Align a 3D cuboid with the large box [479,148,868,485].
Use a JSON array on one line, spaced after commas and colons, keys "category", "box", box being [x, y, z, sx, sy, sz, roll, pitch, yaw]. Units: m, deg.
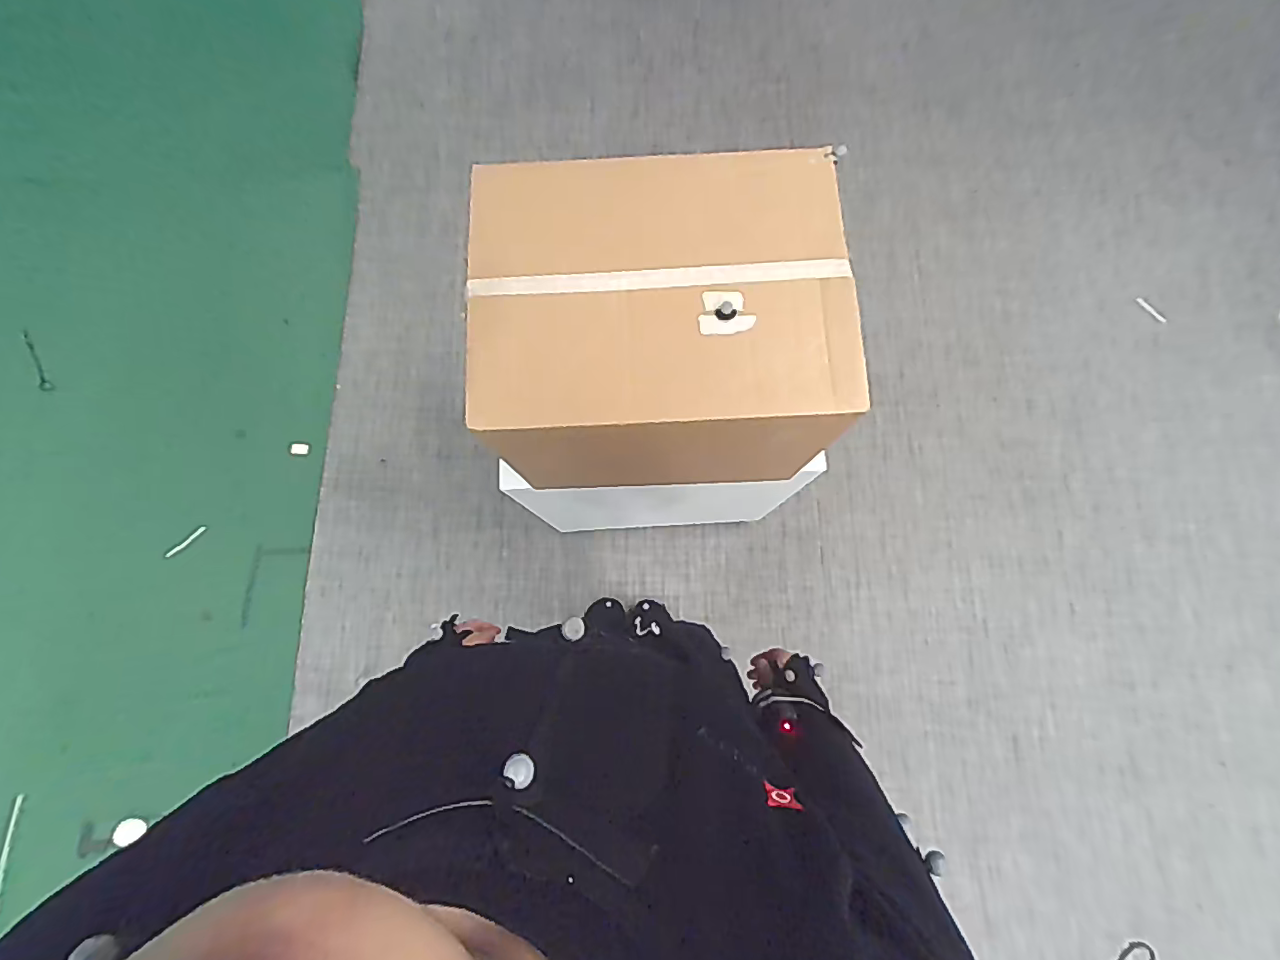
[{"category": "large box", "box": [0.025, -0.184, 0.722, 0.408, 0.320, 0.320, -3, 78, -1]}]
